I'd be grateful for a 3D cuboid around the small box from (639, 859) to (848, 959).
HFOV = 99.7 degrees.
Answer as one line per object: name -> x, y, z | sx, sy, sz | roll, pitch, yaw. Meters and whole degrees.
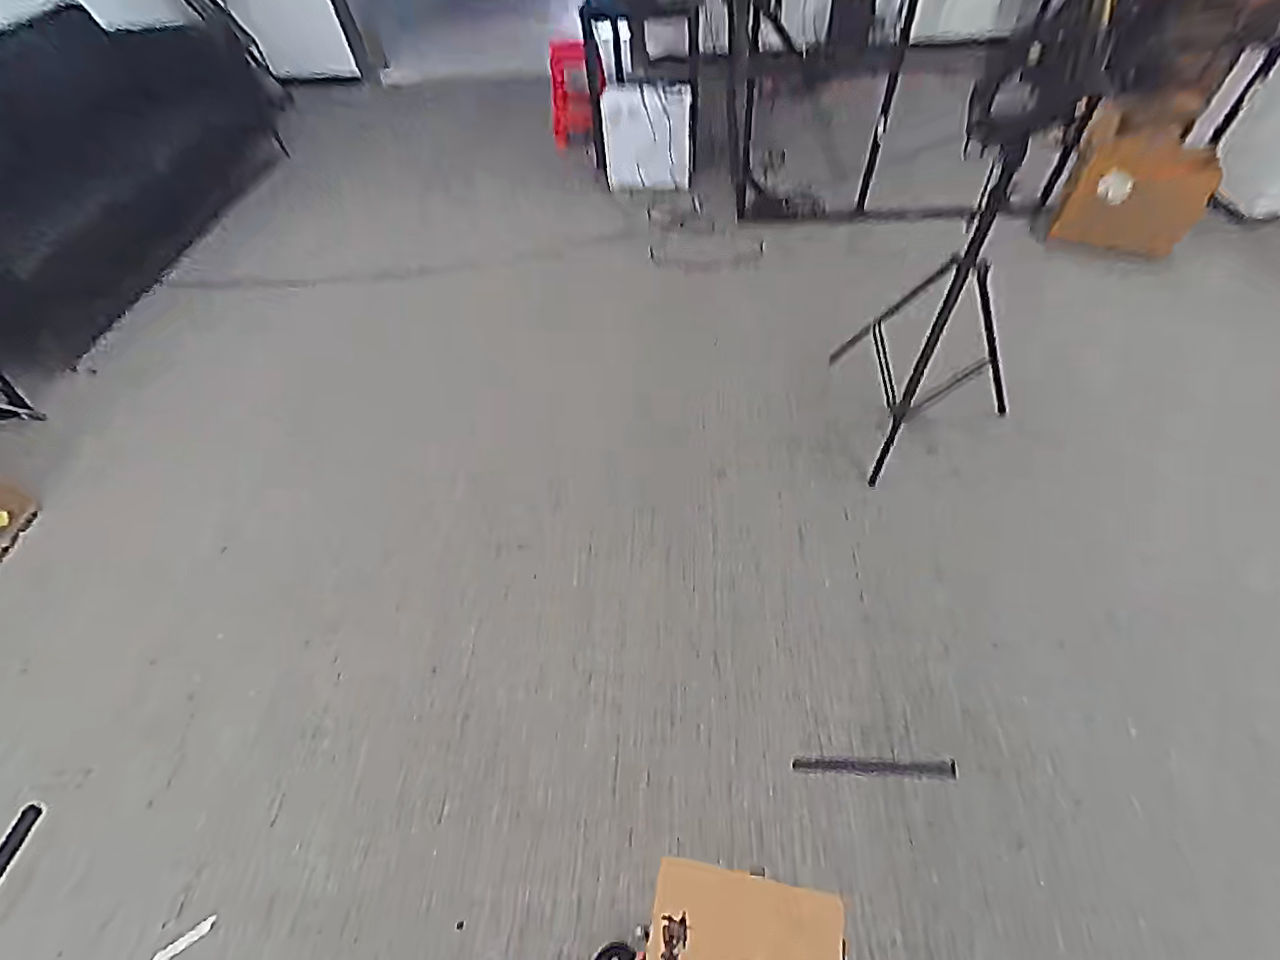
small box -> 0.087, 0.484, 0.523 | 0.179, 0.176, 0.168 | 9, 54, 7
